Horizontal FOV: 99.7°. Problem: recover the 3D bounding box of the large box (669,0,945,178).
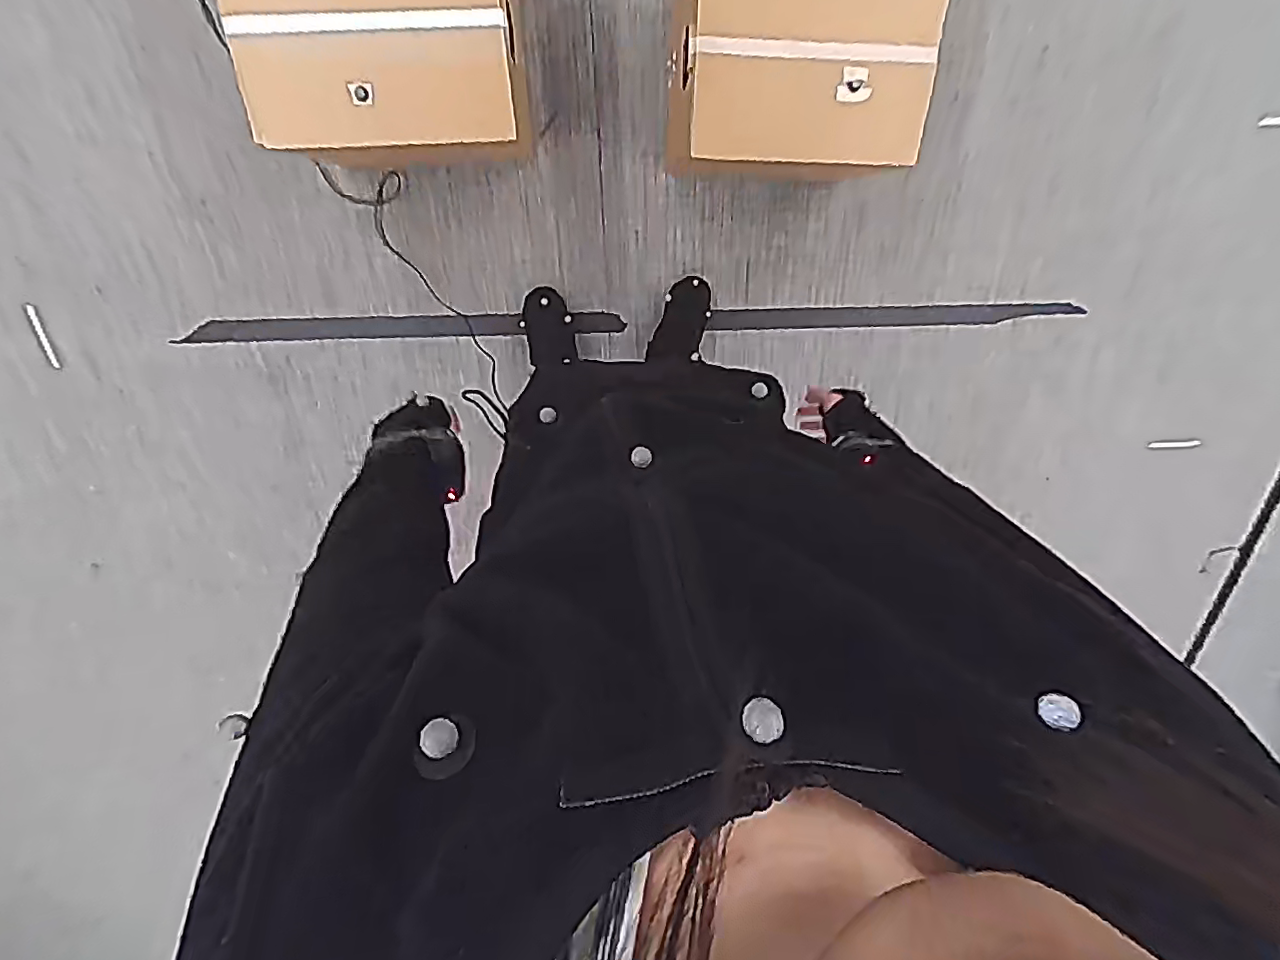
[{"bbox_3d":[0.274,-0.757,1.010,0.408,0.320,0.320,-1,115,-6],"label":"large box"}]
